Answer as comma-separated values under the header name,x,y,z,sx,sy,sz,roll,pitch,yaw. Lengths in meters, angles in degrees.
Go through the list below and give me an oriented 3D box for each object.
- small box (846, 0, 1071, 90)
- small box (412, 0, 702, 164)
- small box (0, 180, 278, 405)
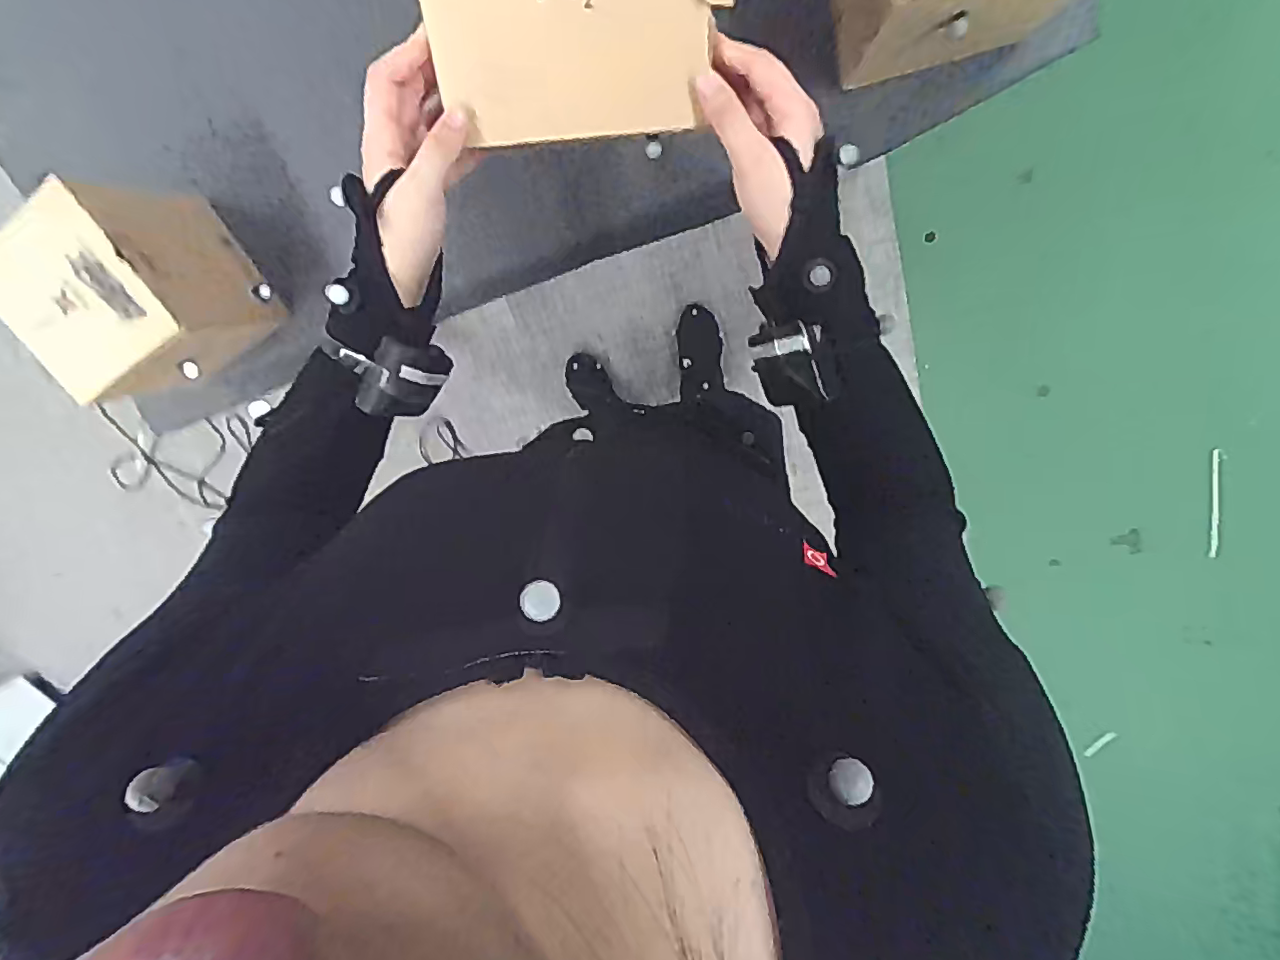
name,x,y,z,sx,sy,sz,roll,pitch,yaw
small box,0.270,-0.461,0.445,0.179,0.176,0.168,-10,106,11
small box,-0.051,-0.331,0.391,0.179,0.176,0.168,-5,120,3
small box,-0.571,-0.215,0.630,0.179,0.176,0.168,-26,107,15
